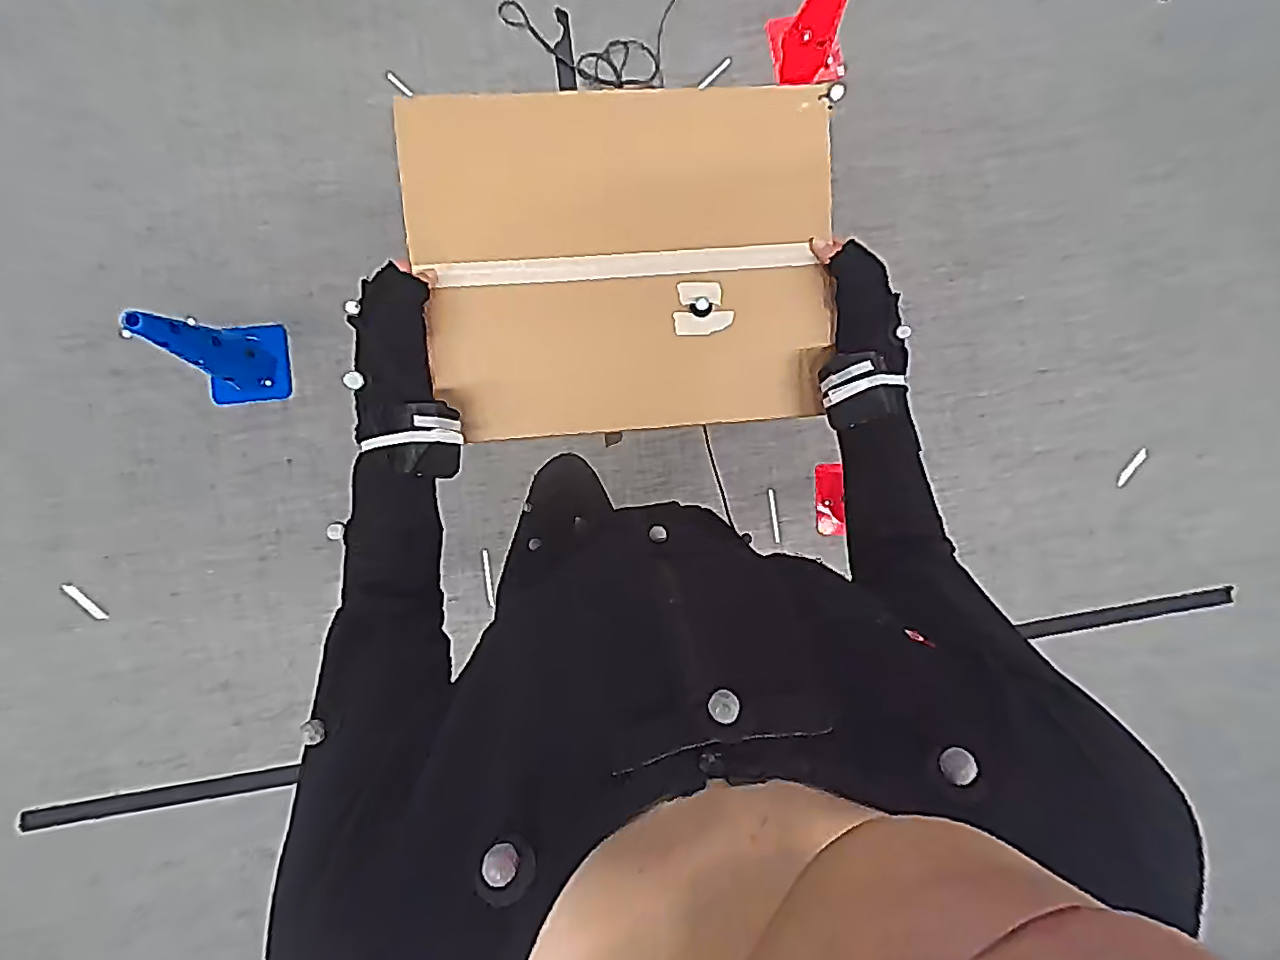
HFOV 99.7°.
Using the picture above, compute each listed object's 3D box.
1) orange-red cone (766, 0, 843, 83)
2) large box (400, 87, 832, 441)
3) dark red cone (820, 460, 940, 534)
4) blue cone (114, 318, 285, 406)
[{"bbox_3d":[0.483,-1.252,1.385,0.198,0.360,0.199,-11,88,-5],"label":"orange-red cone"},{"bbox_3d":[-0.026,-0.225,0.672,0.408,0.320,0.320,-5,97,-5],"label":"large box"},{"bbox_3d":[0.605,0.042,1.327,0.201,0.394,0.202,-3,88,-3],"label":"dark red cone"},{"bbox_3d":[-1.028,-0.302,1.262,0.192,0.380,0.193,-5,88,-3],"label":"blue cone"}]
